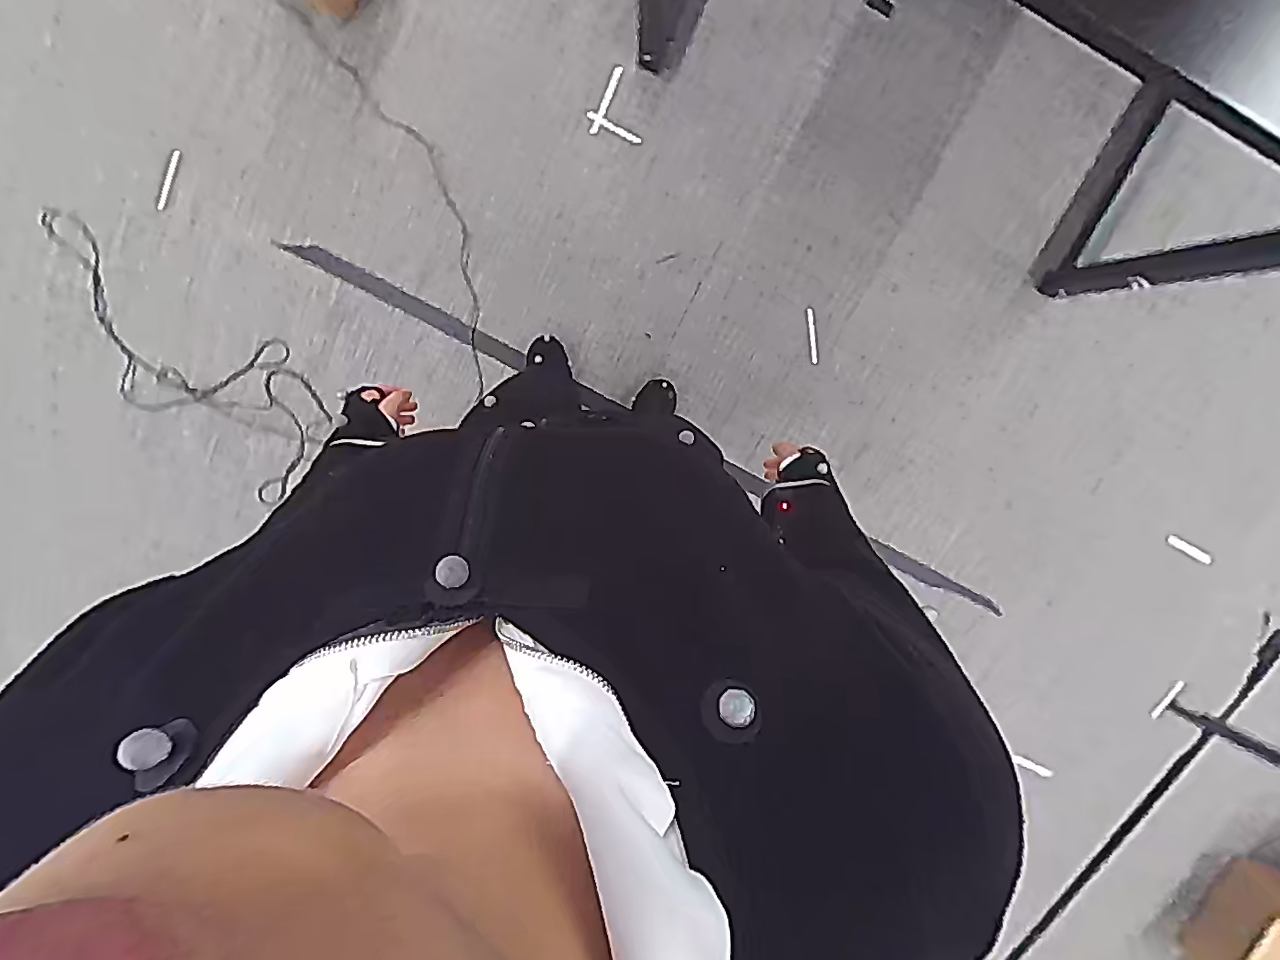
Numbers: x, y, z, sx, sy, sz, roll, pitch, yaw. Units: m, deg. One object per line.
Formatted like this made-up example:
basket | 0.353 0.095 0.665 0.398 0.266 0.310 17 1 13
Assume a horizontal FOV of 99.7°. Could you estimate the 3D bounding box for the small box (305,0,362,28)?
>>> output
small box | -0.688 -1.125 1.136 0.168 0.176 0.179 35 101 -8
